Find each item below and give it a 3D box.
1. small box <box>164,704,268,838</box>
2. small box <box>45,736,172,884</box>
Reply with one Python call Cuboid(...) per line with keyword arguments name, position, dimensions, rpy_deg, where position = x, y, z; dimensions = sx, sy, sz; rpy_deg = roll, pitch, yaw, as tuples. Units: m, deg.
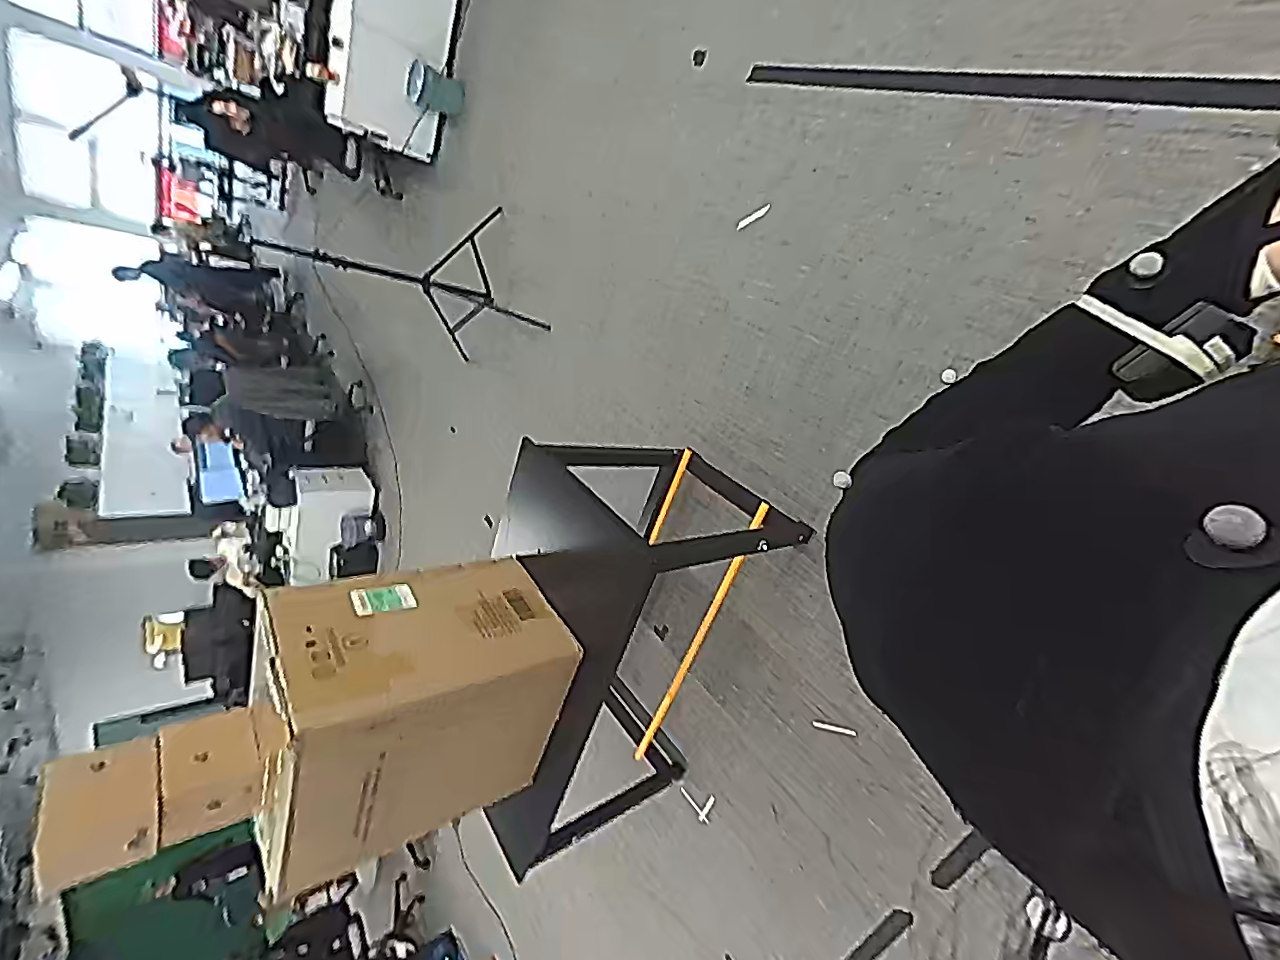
Cuboid(name="small box", position=(-0.951, 0.640, 1.212), dimensions=(0.179, 0.176, 0.168), rpy_deg=(41, 119, 39))
Cuboid(name="small box", position=(-1.061, 0.649, 1.090), dimensions=(0.179, 0.176, 0.168), rpy_deg=(43, 122, 38))
